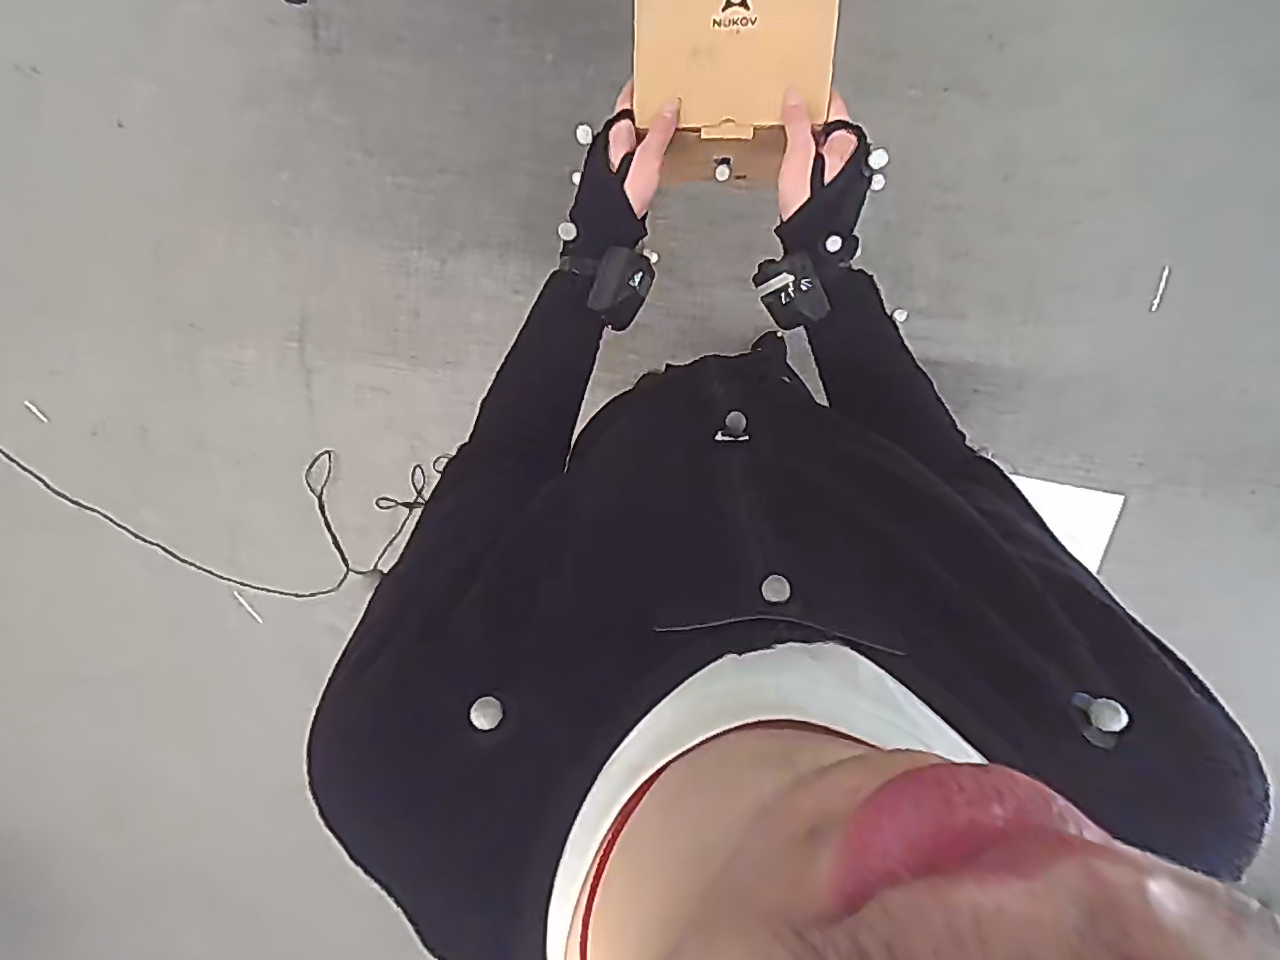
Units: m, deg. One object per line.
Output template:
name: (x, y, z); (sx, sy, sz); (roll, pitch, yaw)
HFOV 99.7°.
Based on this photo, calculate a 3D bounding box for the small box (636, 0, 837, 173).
small box: (0.088, -0.410, 0.520); (0.168, 0.176, 0.179); (1, 105, 7)
